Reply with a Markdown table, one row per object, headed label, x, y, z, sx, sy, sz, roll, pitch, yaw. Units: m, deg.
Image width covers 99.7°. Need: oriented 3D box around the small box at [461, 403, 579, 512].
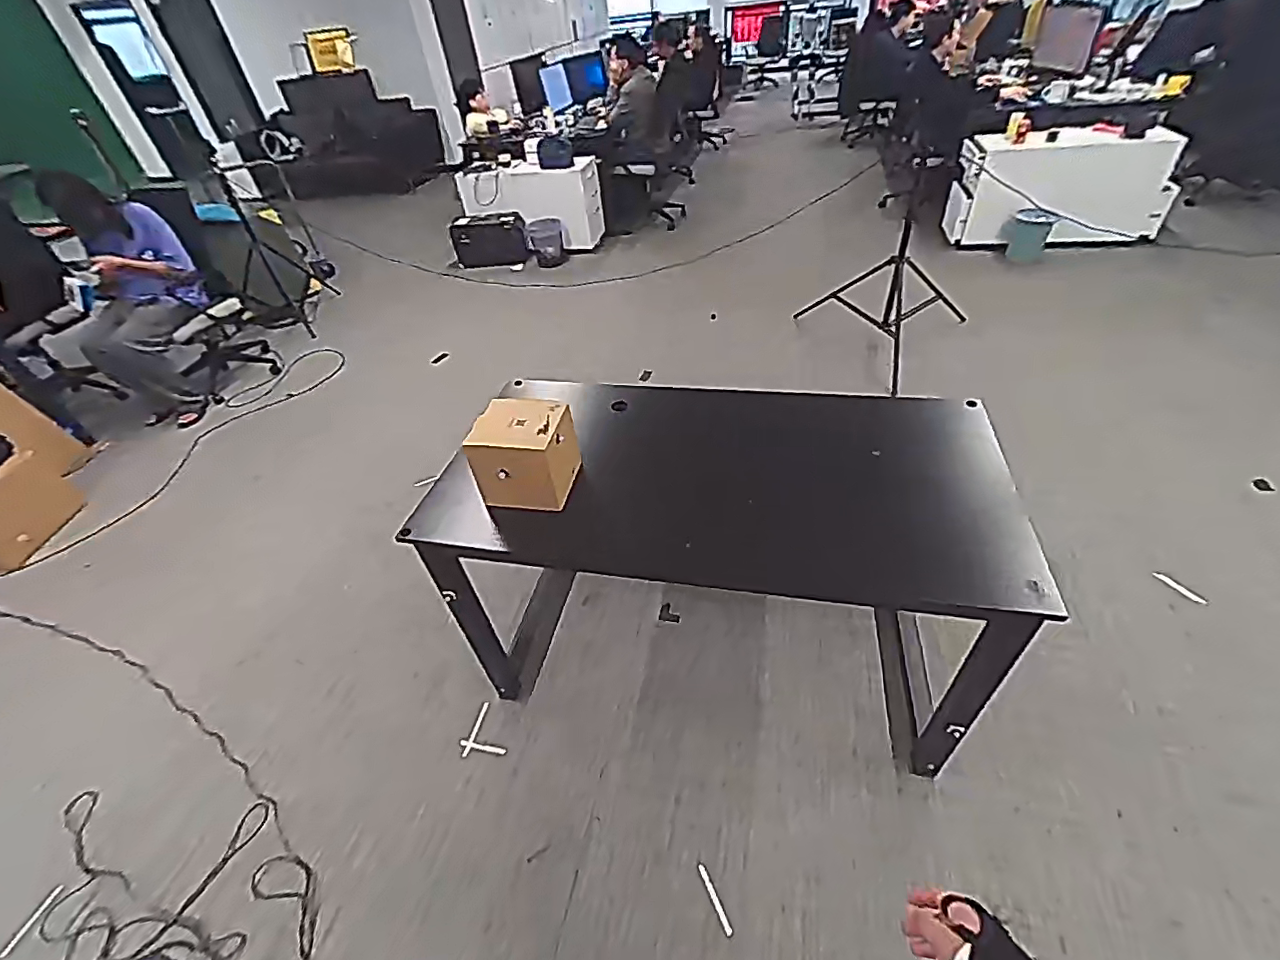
| label | x | y | z | sx | sy | sz | roll | pitch | yaw |
| --- | --- | --- | --- | --- | --- | --- | --- | --- | --- |
| small box | -0.244 | -0.047 | 1.145 | 0.179 | 0.176 | 0.168 | 3 | 43 | 12 |
